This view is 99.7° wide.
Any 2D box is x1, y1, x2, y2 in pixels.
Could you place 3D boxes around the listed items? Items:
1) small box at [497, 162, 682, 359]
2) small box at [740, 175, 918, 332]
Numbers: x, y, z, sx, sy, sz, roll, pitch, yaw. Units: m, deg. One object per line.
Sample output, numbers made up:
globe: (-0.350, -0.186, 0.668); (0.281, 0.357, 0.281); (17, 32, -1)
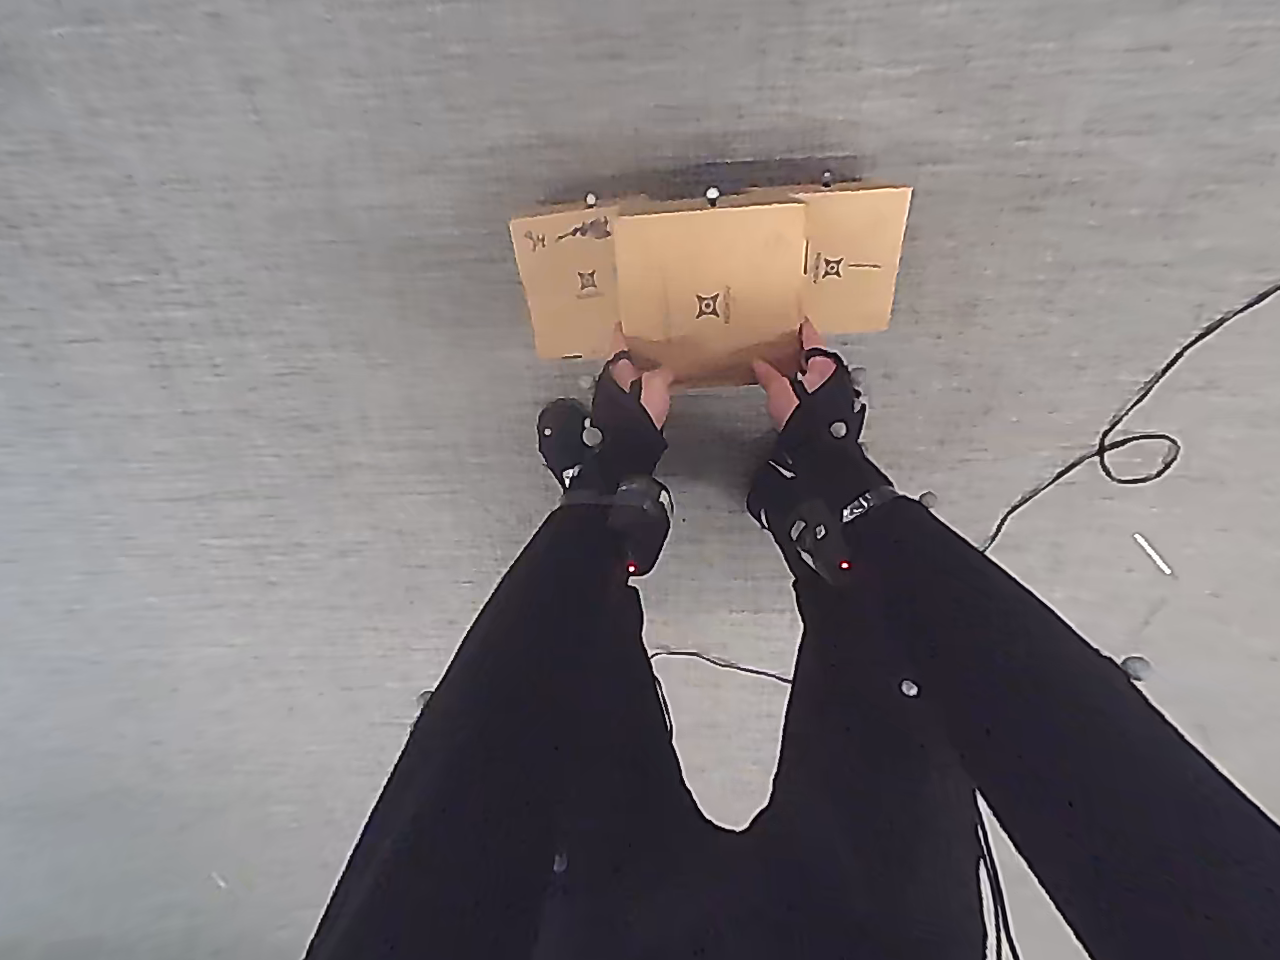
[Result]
small box: (-0.056, -0.300, 0.738); (0.179, 0.176, 0.168); (-31, 112, 22)
small box: (0.231, -0.305, 0.720); (0.179, 0.176, 0.168); (2, 123, 3)
